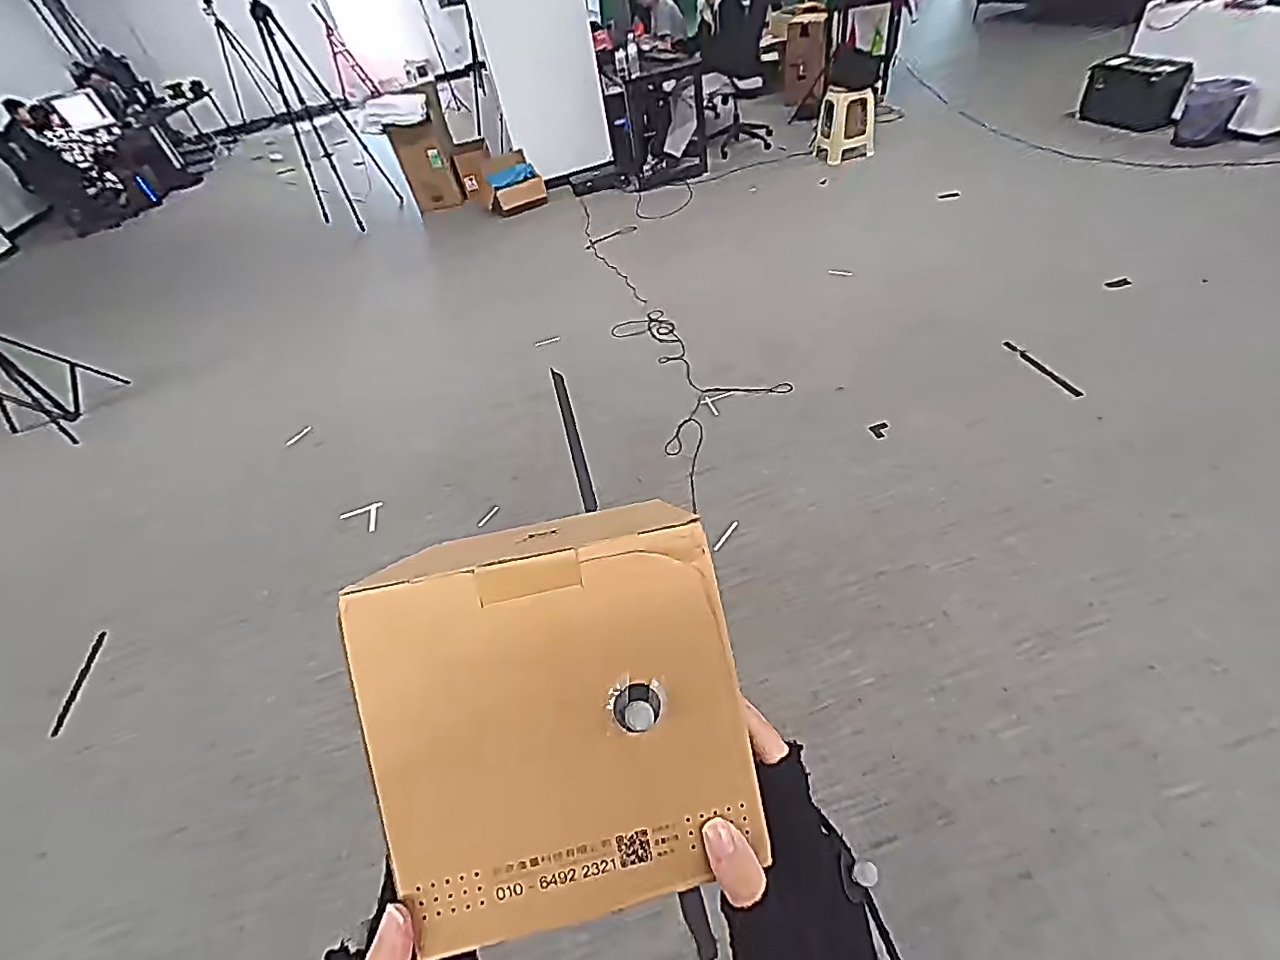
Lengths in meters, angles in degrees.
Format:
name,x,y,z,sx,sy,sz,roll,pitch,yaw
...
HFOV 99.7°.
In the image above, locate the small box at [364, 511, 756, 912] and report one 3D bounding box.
name,x,y,z,sx,sy,sz,roll,pitch,yaw
small box,-0.039,0.124,0.340,0.168,0.176,0.179,-12,1,-4
